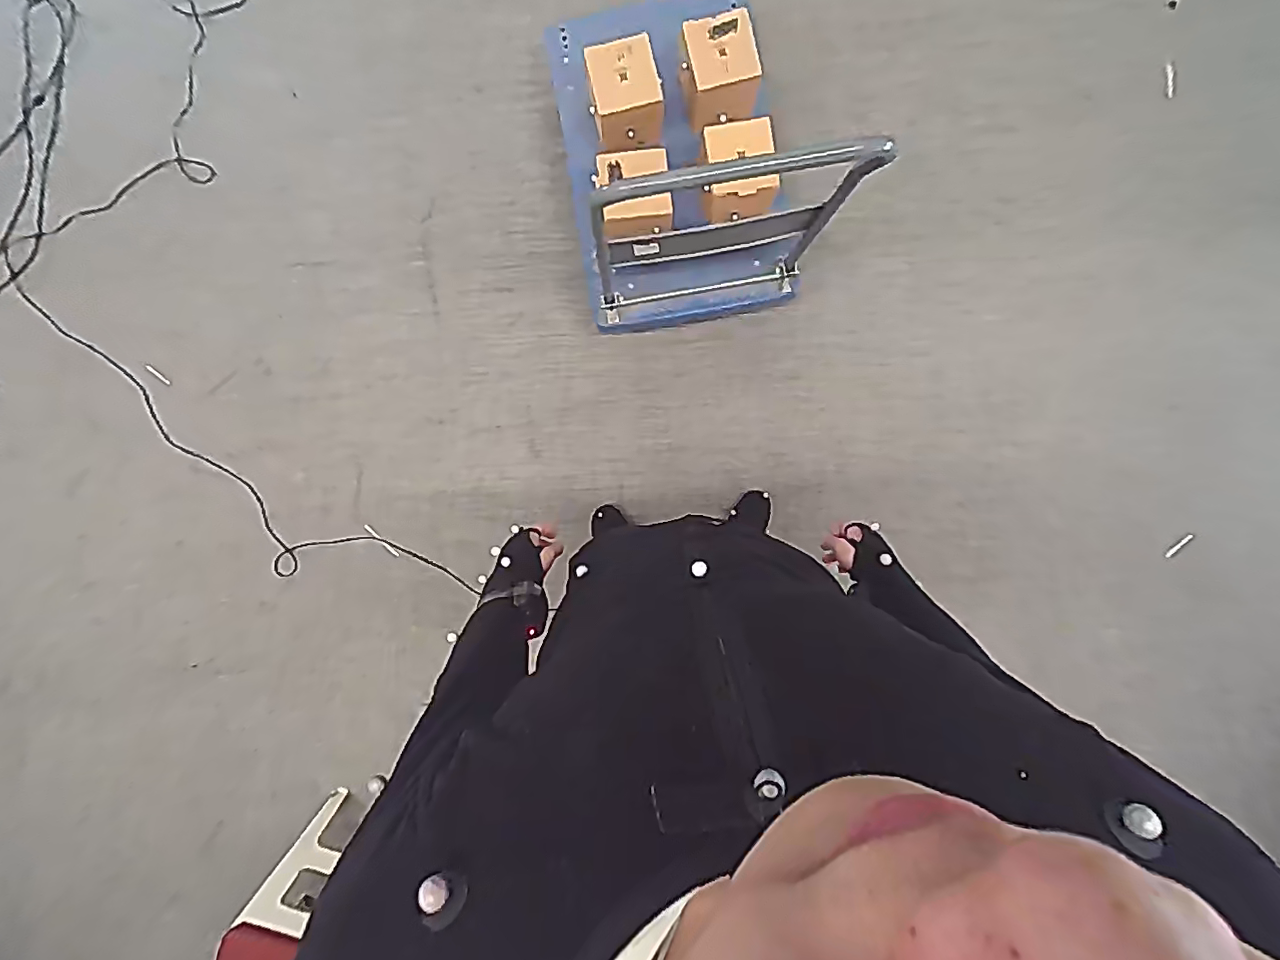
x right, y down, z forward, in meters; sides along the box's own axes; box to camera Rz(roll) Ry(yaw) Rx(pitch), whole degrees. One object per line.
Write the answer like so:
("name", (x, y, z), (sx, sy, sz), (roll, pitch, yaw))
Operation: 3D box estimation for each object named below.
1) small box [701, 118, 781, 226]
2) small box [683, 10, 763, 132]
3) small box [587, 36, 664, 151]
("small box", (0.258, -0.800, 1.416), (0.168, 0.176, 0.179), (-9, 89, 1))
("small box", (0.211, -1.066, 1.421), (0.168, 0.176, 0.179), (-13, 90, 2))
("small box", (-0.034, -1.006, 1.427), (0.168, 0.176, 0.179), (-13, 89, 0))
